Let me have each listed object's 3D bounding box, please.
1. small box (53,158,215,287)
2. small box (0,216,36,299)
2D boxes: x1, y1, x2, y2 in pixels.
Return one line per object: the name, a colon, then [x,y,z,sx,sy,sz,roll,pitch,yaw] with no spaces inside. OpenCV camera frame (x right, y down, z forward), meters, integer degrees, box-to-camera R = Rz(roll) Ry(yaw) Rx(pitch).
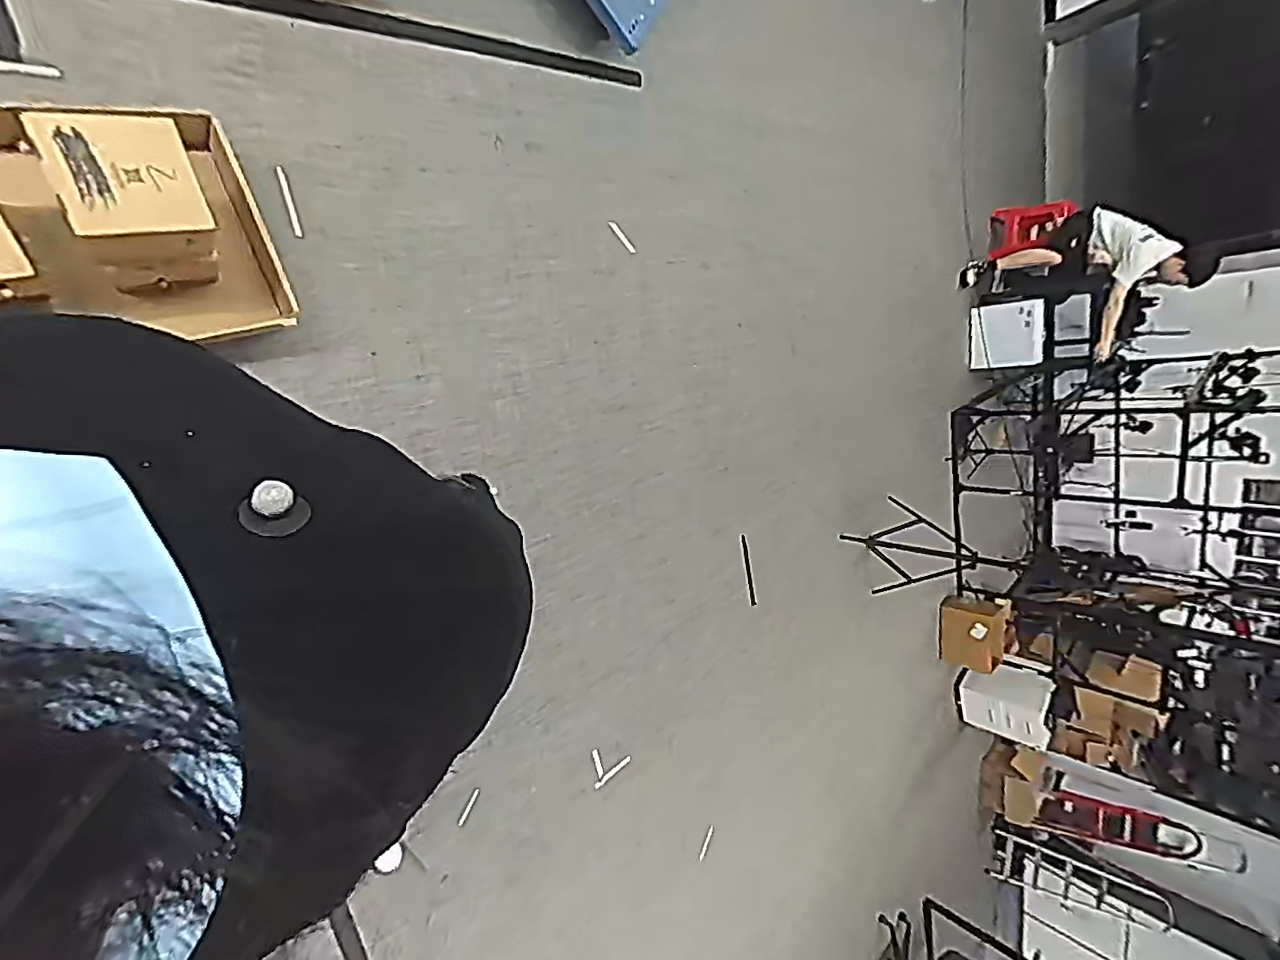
small box: [-0.933,-0.476,1.010,0.168,0.176,0.179,-27,111,-35]
small box: [-1.117,-0.379,0.855,0.179,0.176,0.168,-30,112,-37]
